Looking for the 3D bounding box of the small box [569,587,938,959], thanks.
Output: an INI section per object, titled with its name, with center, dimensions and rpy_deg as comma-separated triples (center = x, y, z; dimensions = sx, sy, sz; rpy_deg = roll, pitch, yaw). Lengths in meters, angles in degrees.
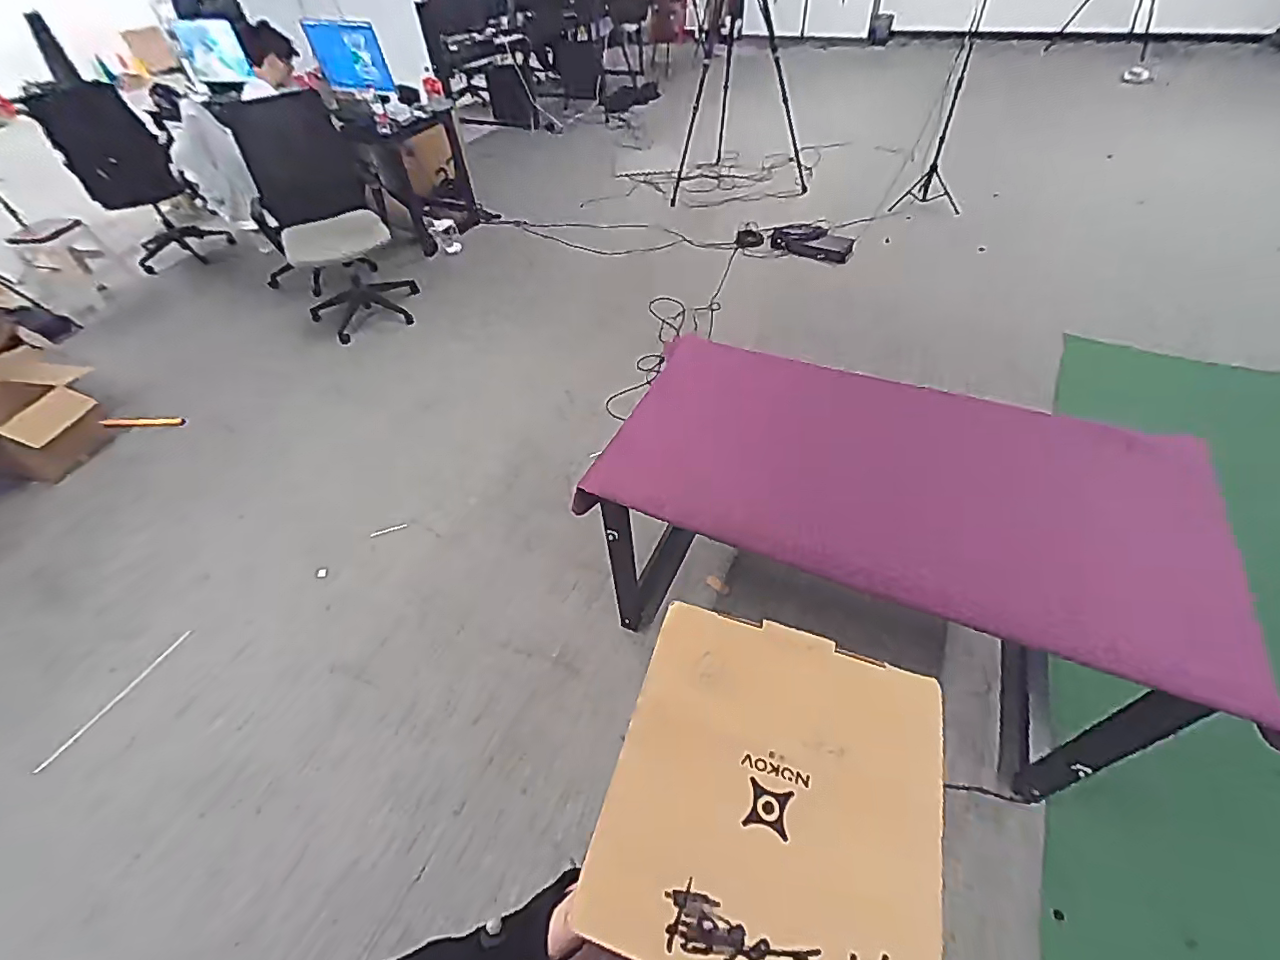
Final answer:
[small box]
center = 0.071, 0.202, 0.347
dimensions = 0.168, 0.176, 0.179
rpy_deg = 14, 54, 13
